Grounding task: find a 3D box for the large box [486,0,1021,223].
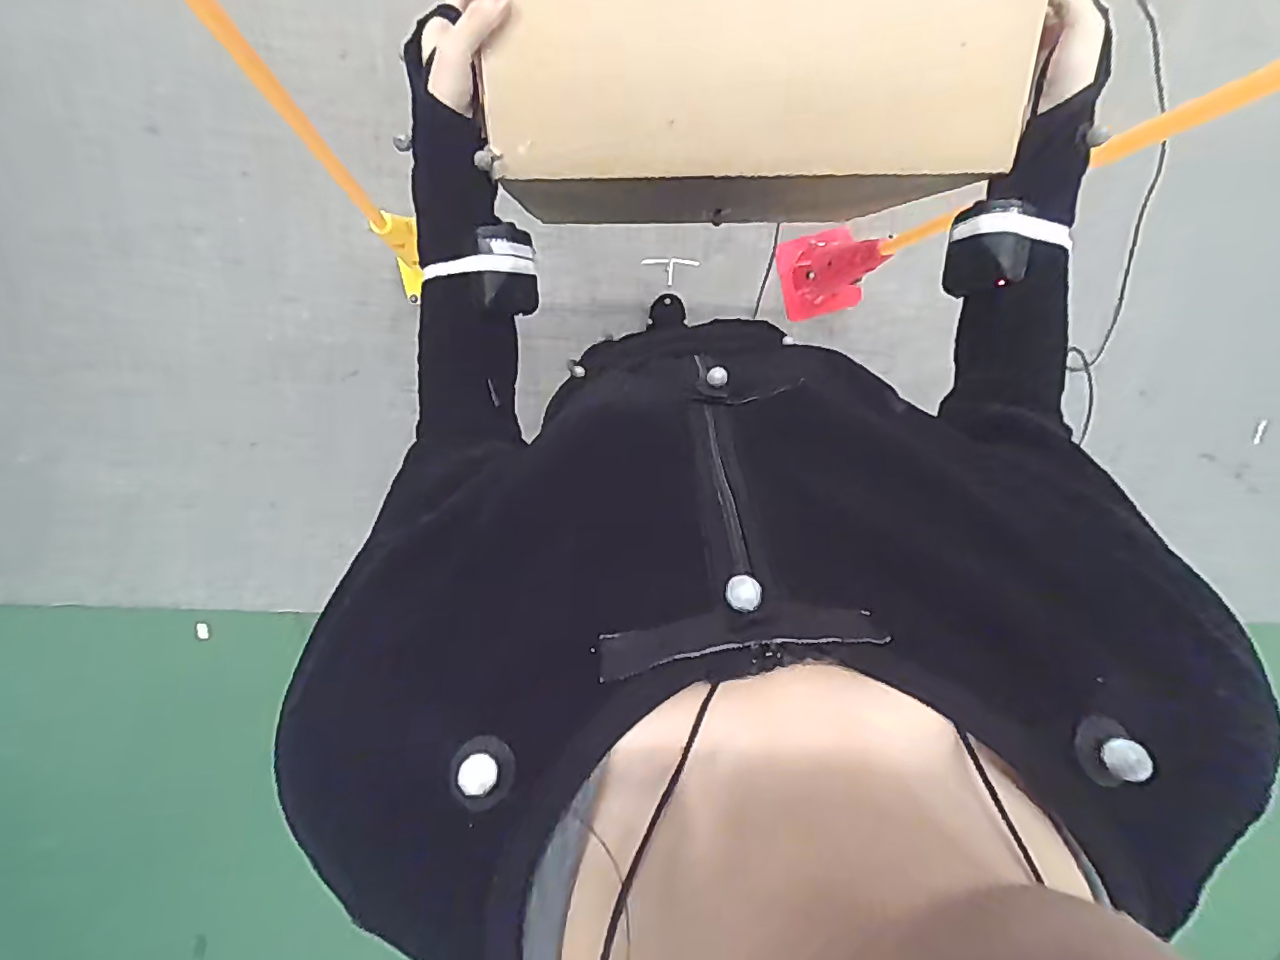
[{"bbox_3d":[0.081,-0.437,0.522,0.408,0.320,0.320,-2,109,-1],"label":"large box"}]
